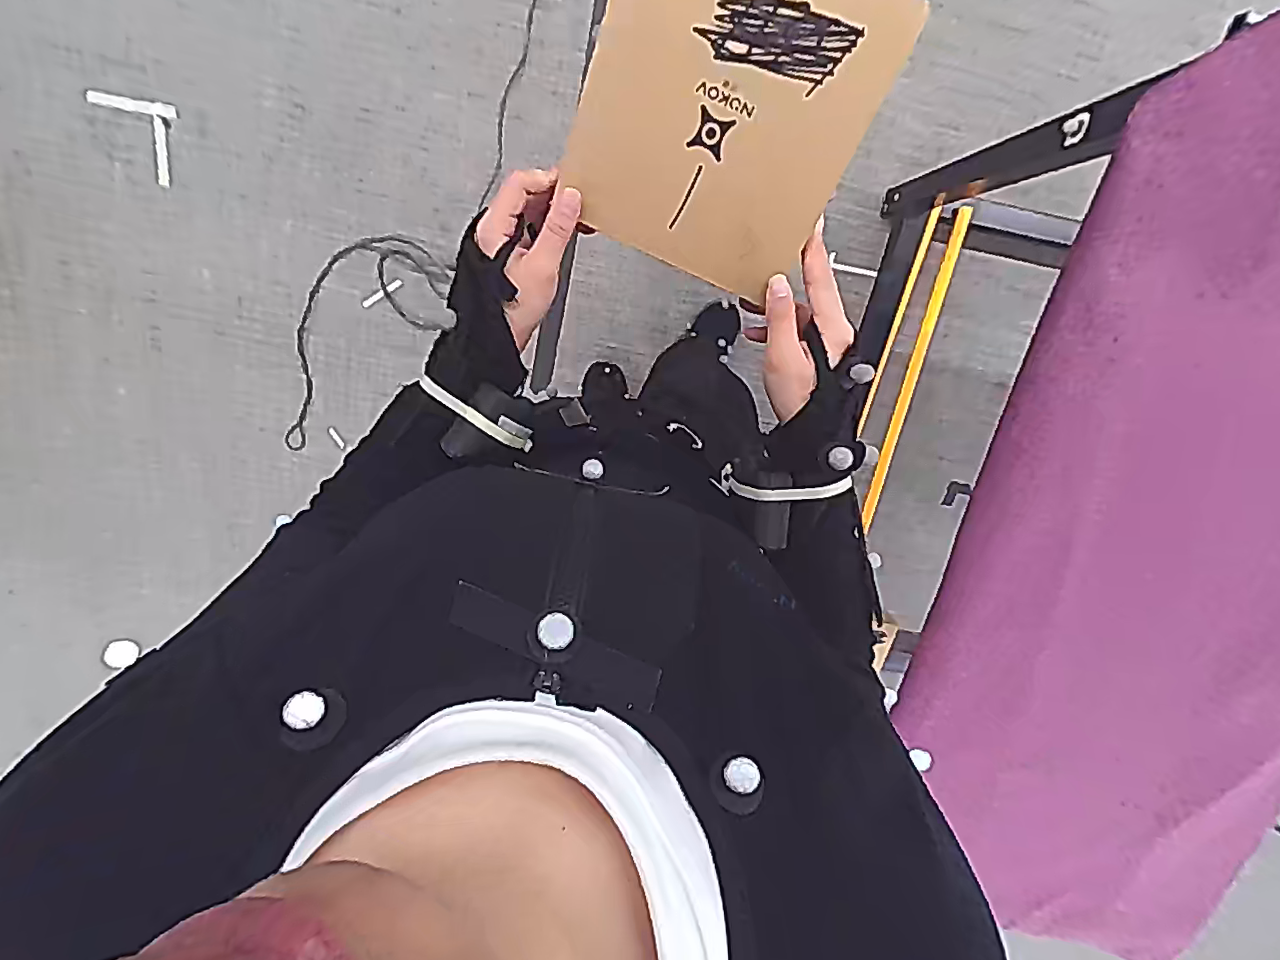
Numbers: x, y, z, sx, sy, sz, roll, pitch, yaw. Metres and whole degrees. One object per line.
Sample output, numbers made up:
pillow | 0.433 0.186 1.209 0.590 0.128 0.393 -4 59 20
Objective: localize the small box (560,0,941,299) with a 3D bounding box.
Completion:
small box | 0.062 -0.260 0.384 0.168 0.176 0.179 23 121 -5
